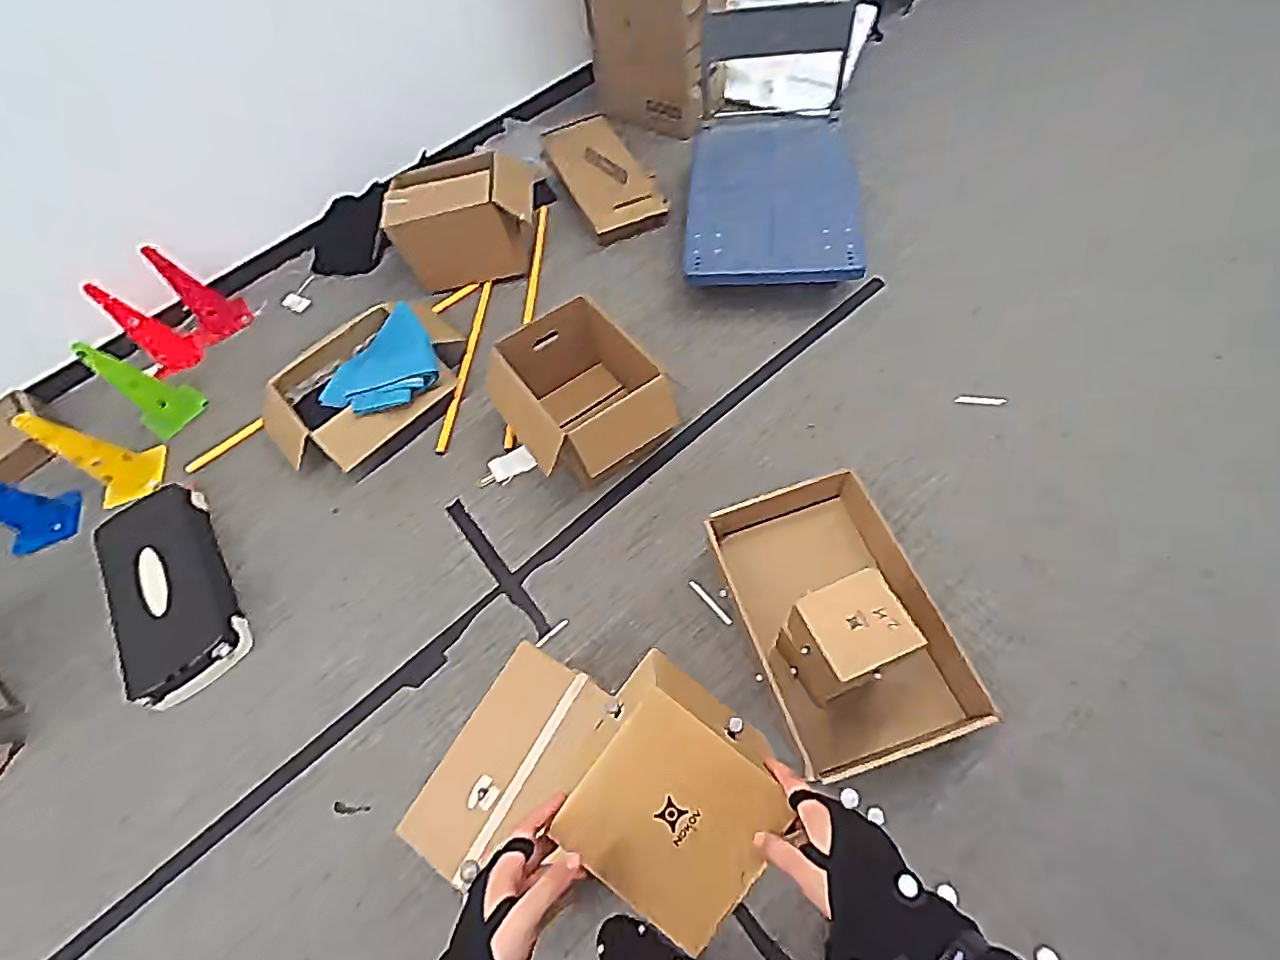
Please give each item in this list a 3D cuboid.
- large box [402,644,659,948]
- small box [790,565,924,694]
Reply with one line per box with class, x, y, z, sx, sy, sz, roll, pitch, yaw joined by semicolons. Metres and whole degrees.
large box;-0.192;0.622;1.136;0.320;0.320;0.408;25;68;21
small box;0.408;0.299;1.058;0.179;0.176;0.168;-23;59;-5
